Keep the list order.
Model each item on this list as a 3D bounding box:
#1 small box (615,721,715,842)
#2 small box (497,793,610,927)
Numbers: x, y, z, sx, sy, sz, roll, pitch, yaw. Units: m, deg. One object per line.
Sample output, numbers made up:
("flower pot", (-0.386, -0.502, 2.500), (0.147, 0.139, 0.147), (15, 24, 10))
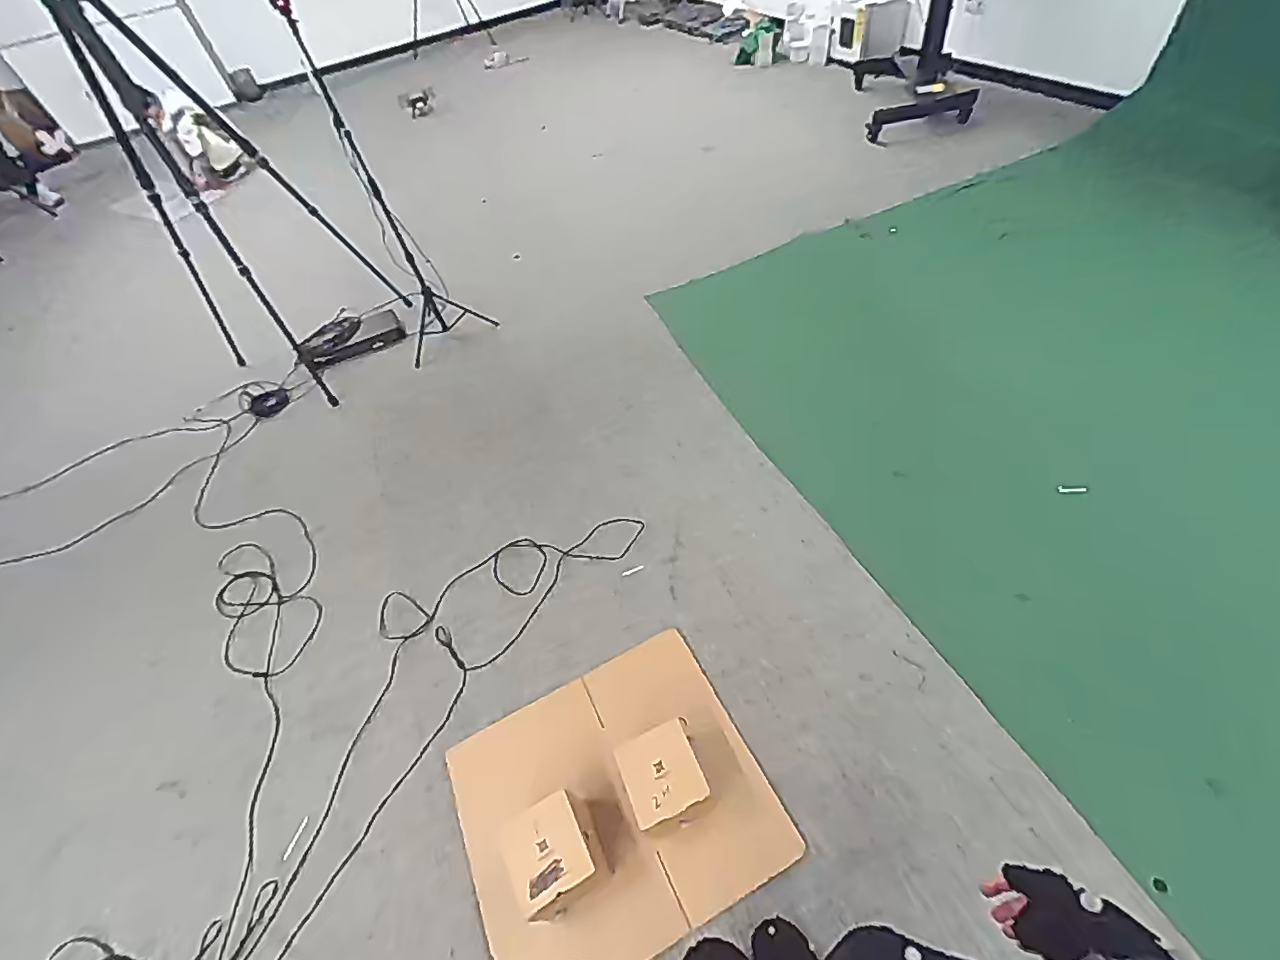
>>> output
("small box", (0.059, 0.688, 1.229), (0.168, 0.176, 0.179), (-23, 51, -7))
("small box", (-0.181, 0.817, 1.166), (0.168, 0.176, 0.179), (-28, 51, -12))
